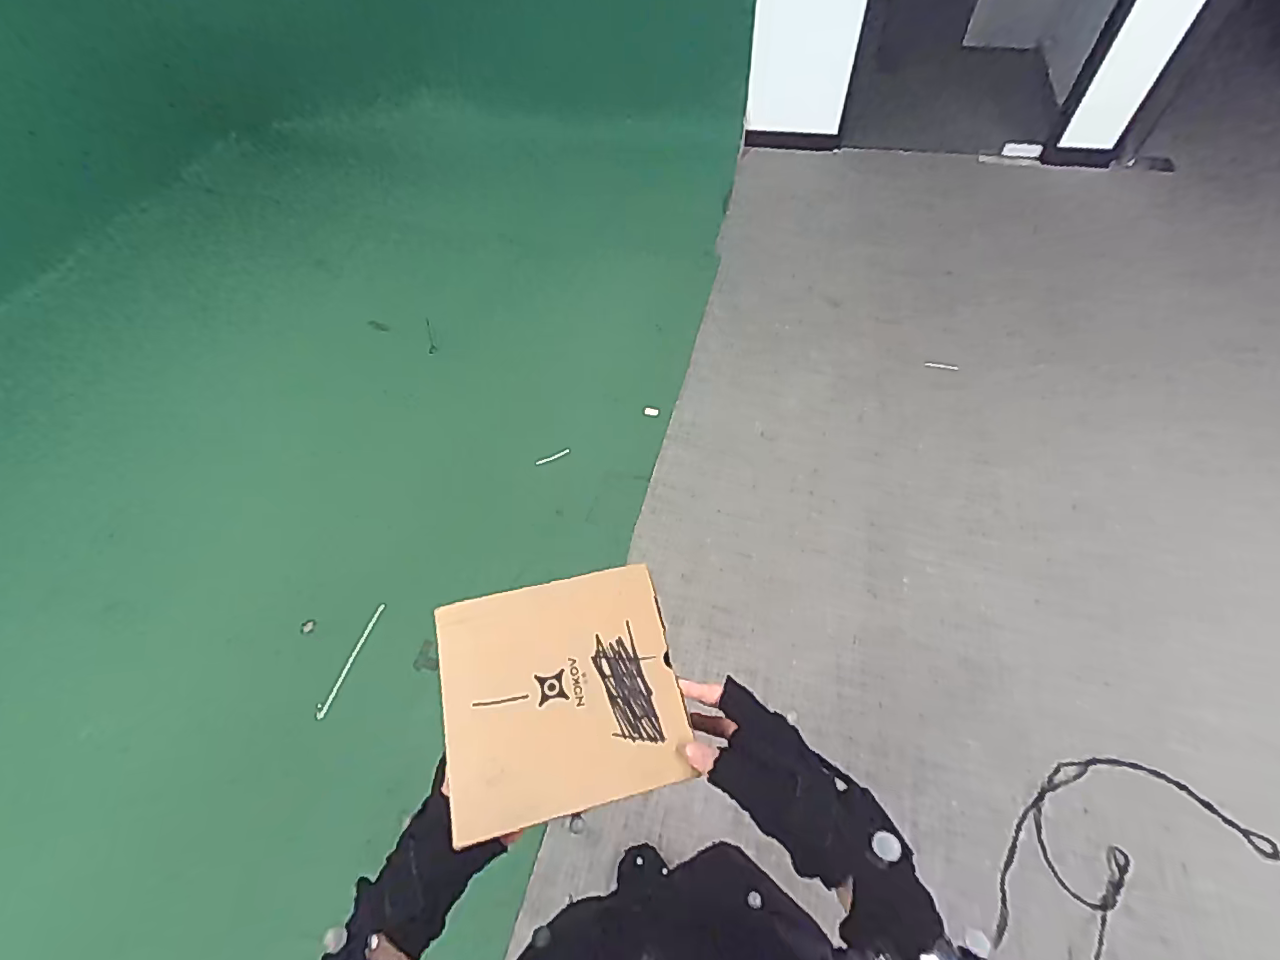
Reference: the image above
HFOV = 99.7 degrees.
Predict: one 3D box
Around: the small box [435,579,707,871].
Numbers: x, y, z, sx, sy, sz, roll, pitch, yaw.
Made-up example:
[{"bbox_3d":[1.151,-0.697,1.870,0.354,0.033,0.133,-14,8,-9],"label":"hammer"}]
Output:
[{"bbox_3d":[-0.063,0.203,0.461,0.179,0.176,0.168,-10,61,-11],"label":"small box"}]
